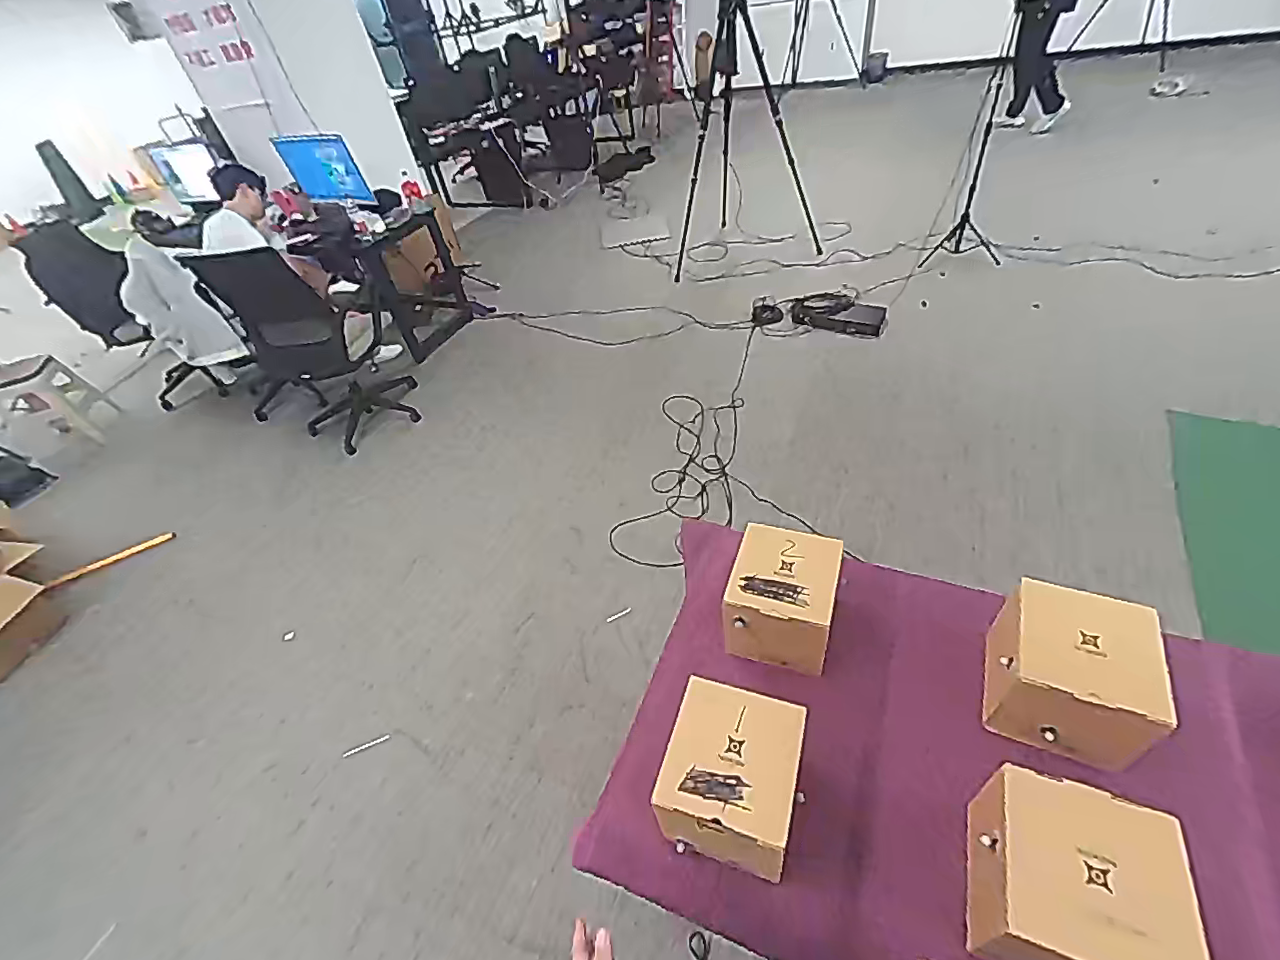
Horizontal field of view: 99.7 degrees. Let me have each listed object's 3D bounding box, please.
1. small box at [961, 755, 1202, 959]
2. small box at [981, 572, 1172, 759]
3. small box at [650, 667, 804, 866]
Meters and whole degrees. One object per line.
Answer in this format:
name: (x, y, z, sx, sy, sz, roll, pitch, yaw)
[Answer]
small box: (0.486, 0.462, 0.625, 0.168, 0.176, 0.179, 12, 48, 23)
small box: (0.620, 0.271, 0.793, 0.168, 0.176, 0.179, 14, 51, 23)
small box: (0.127, 0.399, 0.753, 0.168, 0.176, 0.179, 10, 46, 19)
